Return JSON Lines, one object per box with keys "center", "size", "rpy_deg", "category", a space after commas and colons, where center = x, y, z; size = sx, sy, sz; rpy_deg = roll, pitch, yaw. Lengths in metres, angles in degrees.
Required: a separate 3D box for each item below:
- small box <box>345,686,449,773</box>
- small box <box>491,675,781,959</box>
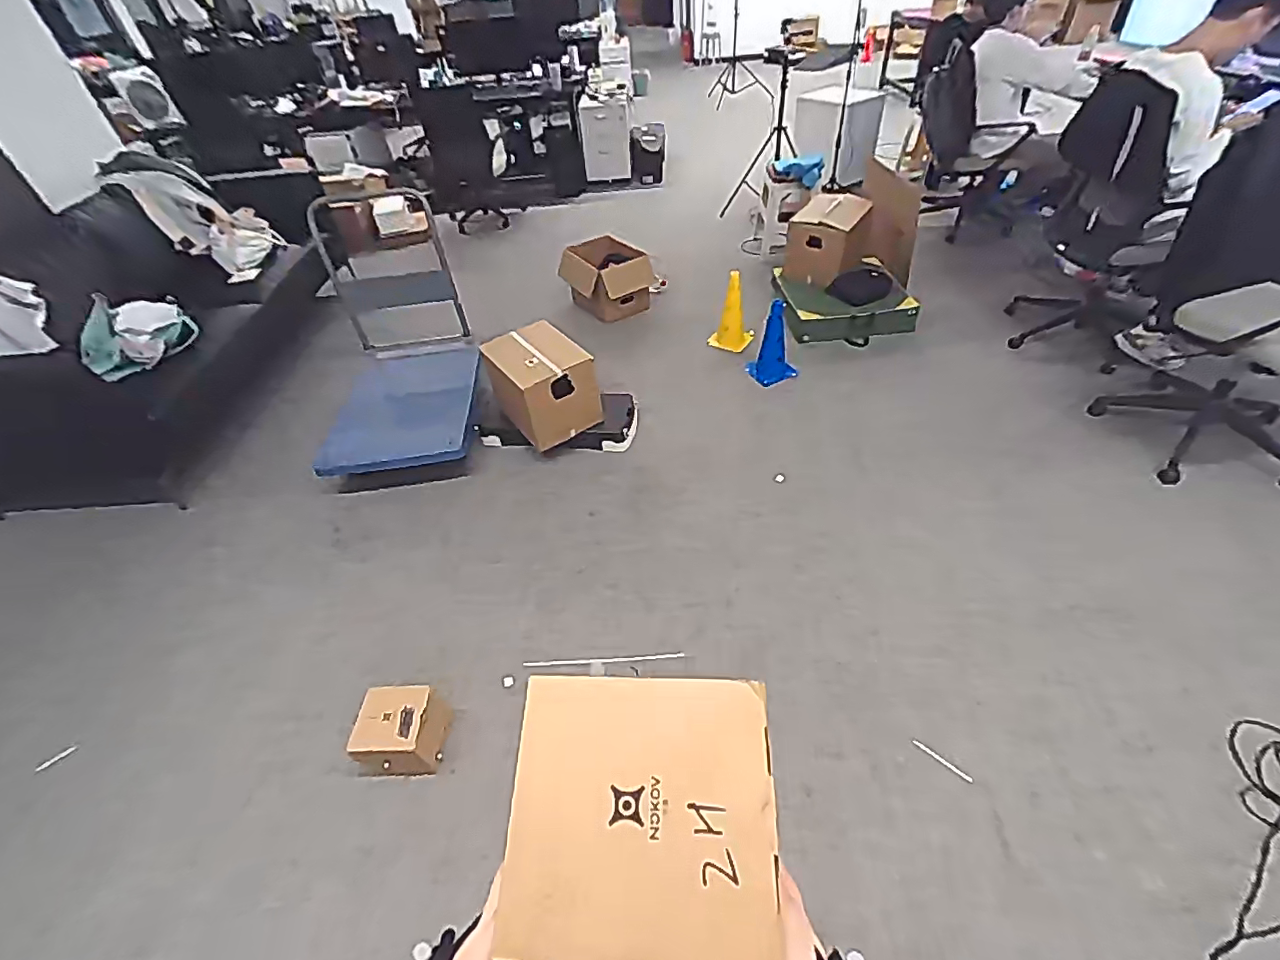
{"center": [-0.624, 0.655, 1.418], "size": [0.179, 0.176, 0.168], "rpy_deg": [-3, 45, 4], "category": "small box"}
{"center": [0.006, 0.256, 0.425], "size": [0.179, 0.176, 0.168], "rpy_deg": [0, 61, 5], "category": "small box"}
